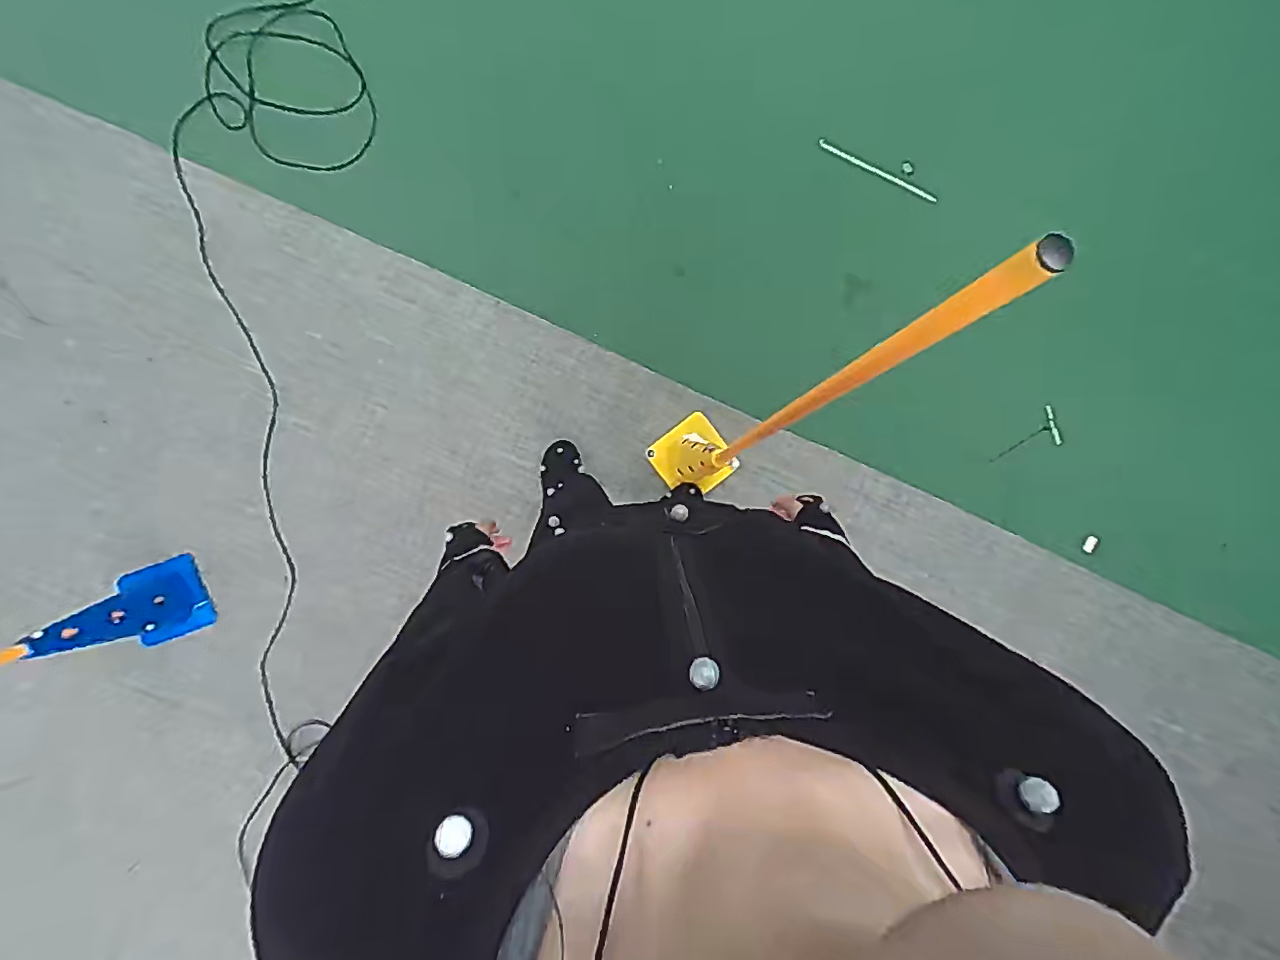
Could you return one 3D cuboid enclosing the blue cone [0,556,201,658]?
[{"bbox_3d":[-1.227,0.320,1.215,0.193,0.380,0.192,-22,94,-2],"label":"blue cone"}]
